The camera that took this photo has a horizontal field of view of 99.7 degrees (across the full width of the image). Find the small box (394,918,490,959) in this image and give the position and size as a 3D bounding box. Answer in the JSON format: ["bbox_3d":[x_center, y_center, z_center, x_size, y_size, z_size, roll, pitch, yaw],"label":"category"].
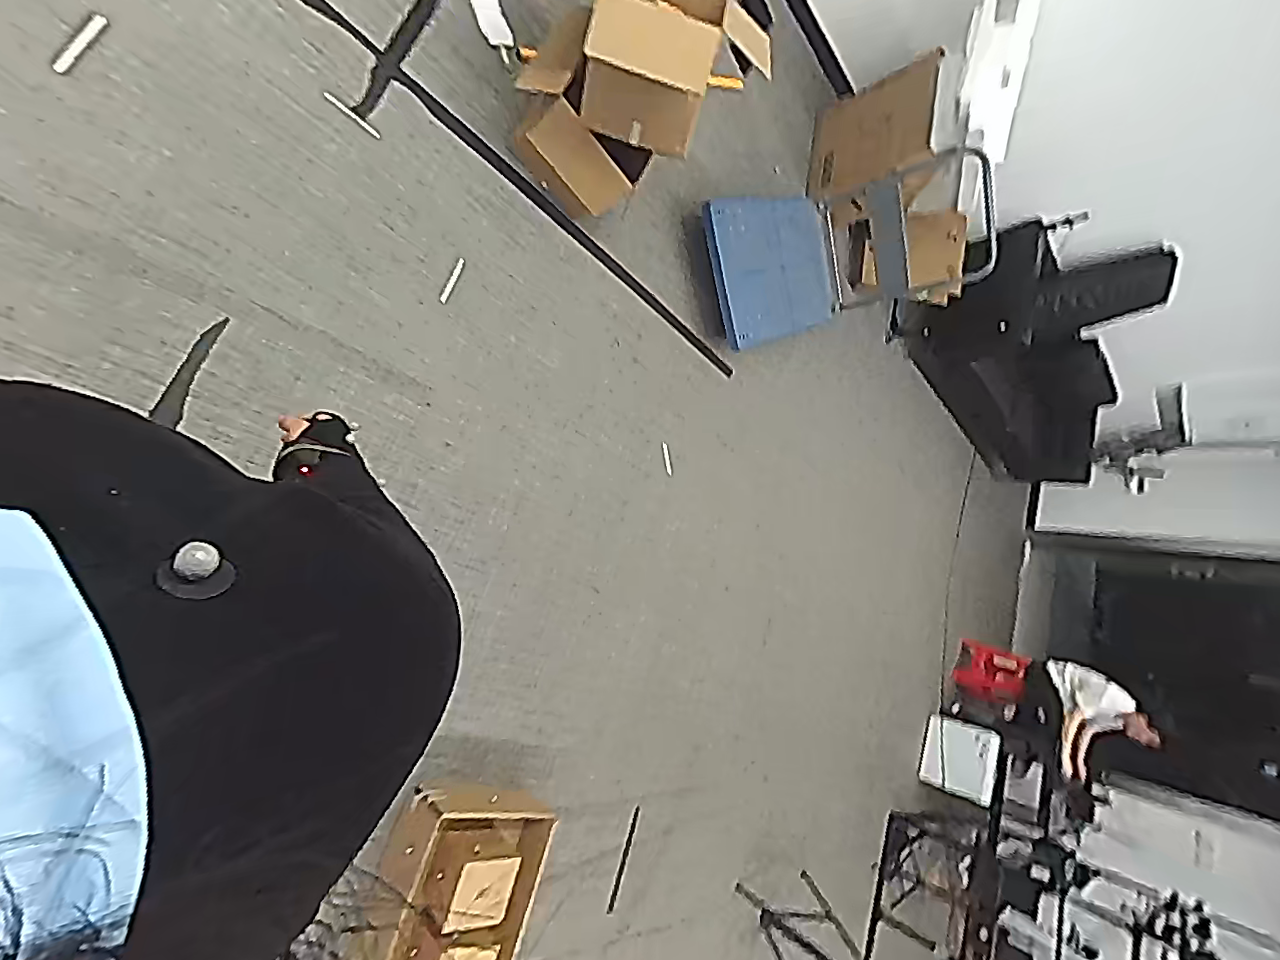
[{"bbox_3d":[-0.539,1.304,1.436,0.179,0.176,0.168,36,66,-36],"label":"small box"}]

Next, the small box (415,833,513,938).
[{"bbox_3d":[-0.486,1.096,1.478,0.179,0.176,0.168,28,74,-39],"label":"small box"}]
